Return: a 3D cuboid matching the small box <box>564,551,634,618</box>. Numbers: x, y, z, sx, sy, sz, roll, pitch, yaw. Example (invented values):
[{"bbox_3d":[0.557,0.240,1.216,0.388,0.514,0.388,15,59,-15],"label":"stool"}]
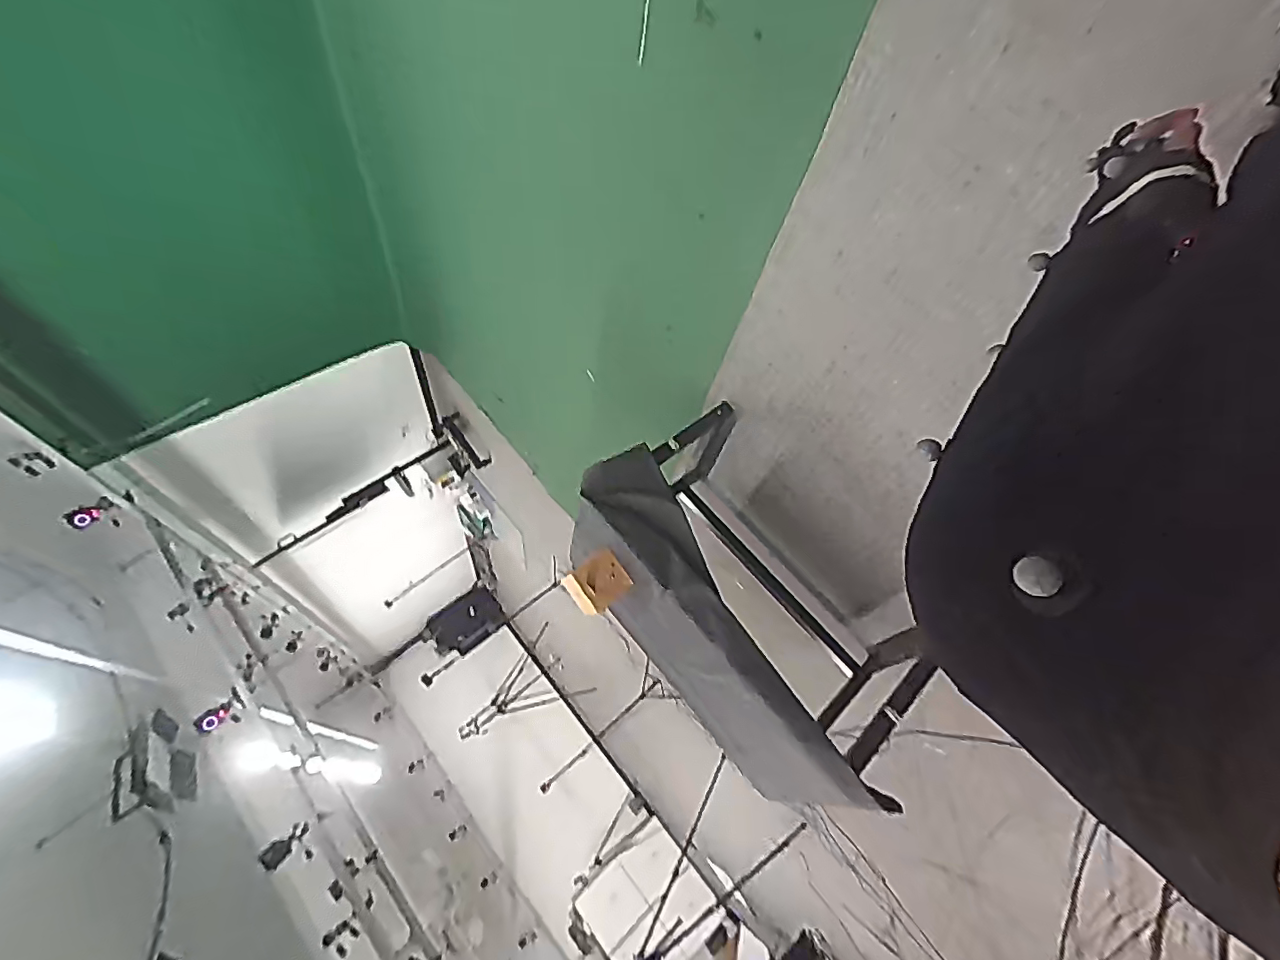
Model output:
[{"bbox_3d":[-0.145,0.373,1.926,0.168,0.176,0.179,54,154,2],"label":"small box"}]
